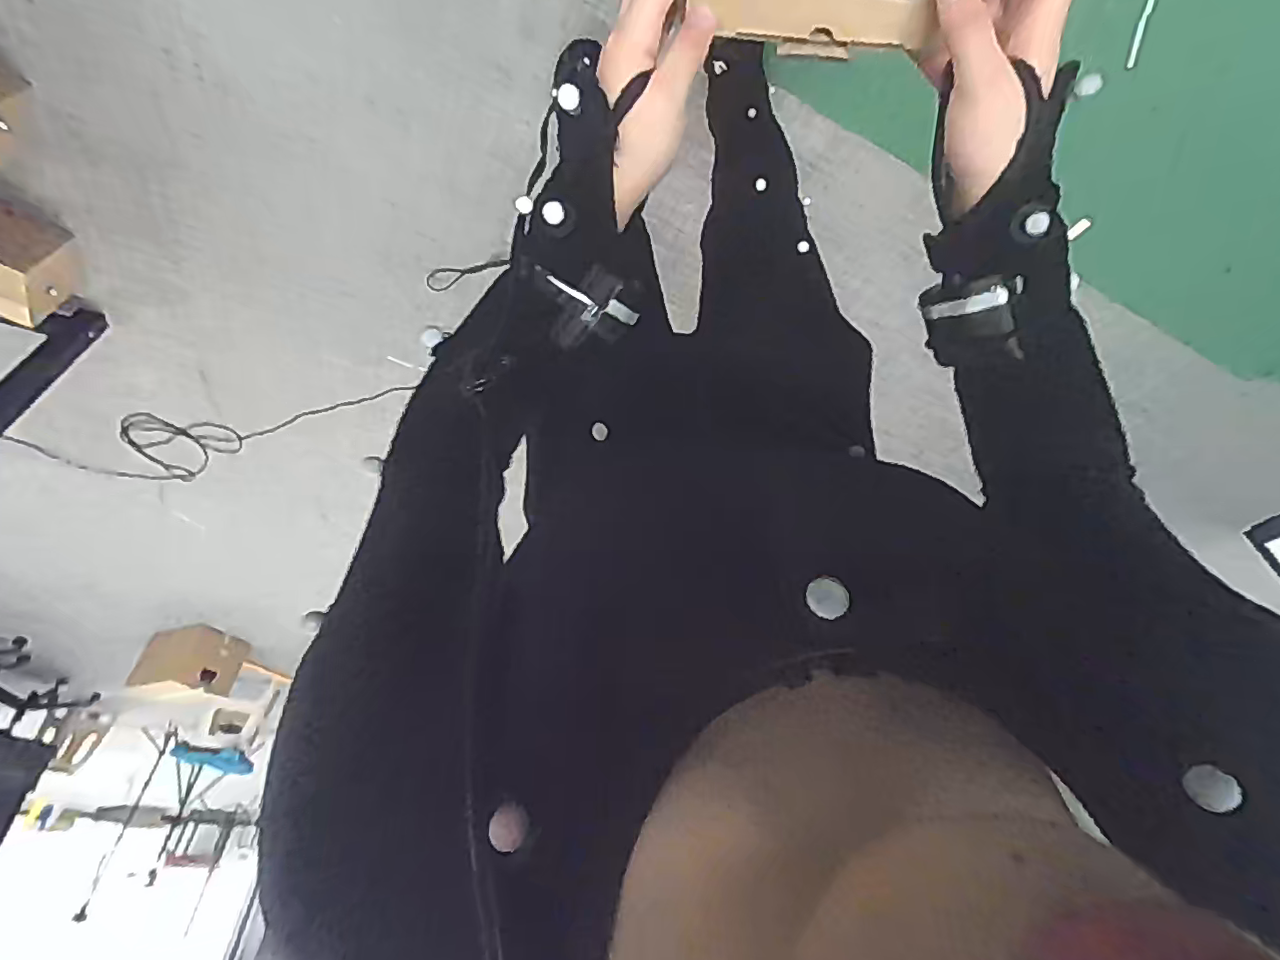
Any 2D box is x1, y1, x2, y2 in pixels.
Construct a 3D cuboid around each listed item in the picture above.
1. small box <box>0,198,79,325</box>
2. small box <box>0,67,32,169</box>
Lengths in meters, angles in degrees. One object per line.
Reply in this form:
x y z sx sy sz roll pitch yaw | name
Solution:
-1.418 -0.494 1.216 0.168 0.176 0.179 25 137 -28 | small box
-1.259 -0.683 0.972 0.179 0.176 0.168 -30 132 35 | small box
